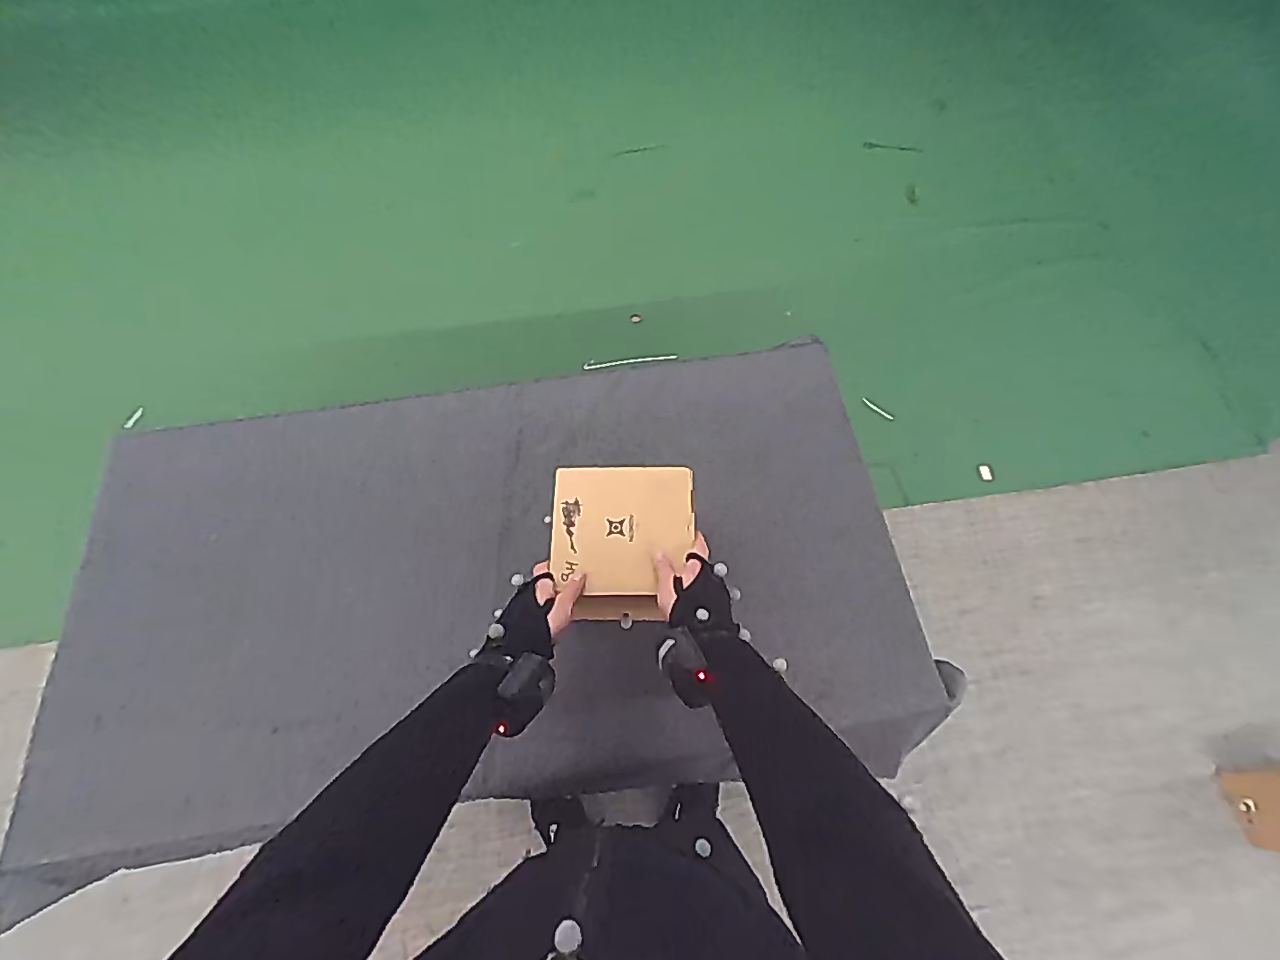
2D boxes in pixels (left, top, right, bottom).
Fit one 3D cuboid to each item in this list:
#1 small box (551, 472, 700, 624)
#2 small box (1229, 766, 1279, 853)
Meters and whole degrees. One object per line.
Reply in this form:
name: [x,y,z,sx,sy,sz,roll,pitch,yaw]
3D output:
small box: [-0.017,0.099,0.734,0.179,0.176,0.168,0,66,0]
small box: [1.522,0.744,1.215,0.179,0.176,0.168,-6,64,-2]
